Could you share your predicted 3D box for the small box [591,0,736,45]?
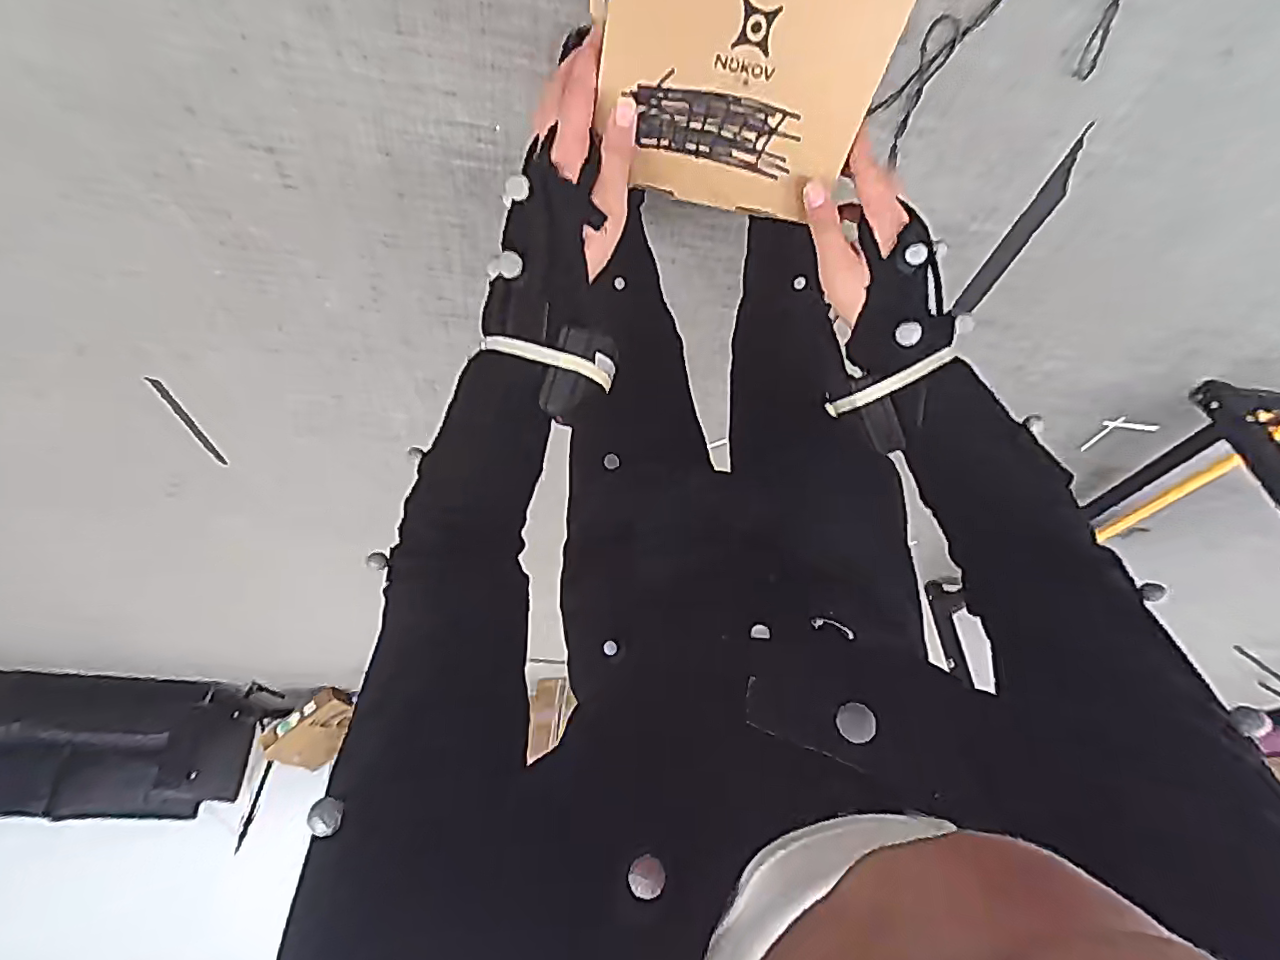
[{"bbox_3d":[0.038,-0.642,0.616,0.168,0.176,0.179,6,144,-4],"label":"small box"}]
